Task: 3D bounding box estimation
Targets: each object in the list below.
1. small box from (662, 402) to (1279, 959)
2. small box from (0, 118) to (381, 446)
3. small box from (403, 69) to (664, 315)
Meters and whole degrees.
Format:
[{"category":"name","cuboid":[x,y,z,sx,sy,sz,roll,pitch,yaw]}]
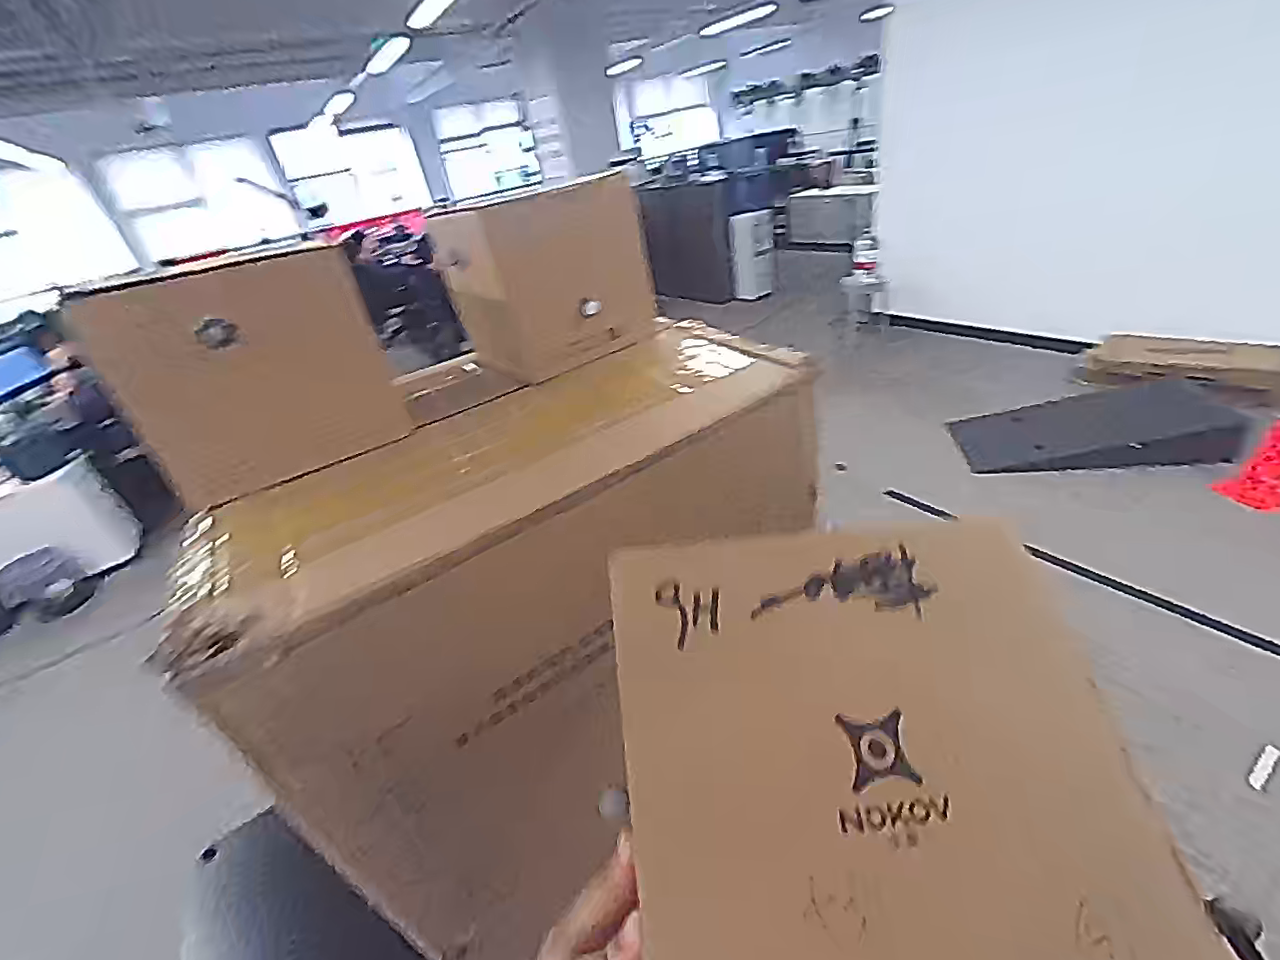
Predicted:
[{"category":"small box","cuboid":[0.099,0.099,0.173,0.168,0.176,0.179,-5,63,-4]},{"category":"small box","cuboid":[-0.322,-0.143,0.397,0.179,0.176,0.168,-26,34,-25]},{"category":"small box","cuboid":[-0.099,-0.269,0.526,0.168,0.176,0.179,-30,35,-25]}]
